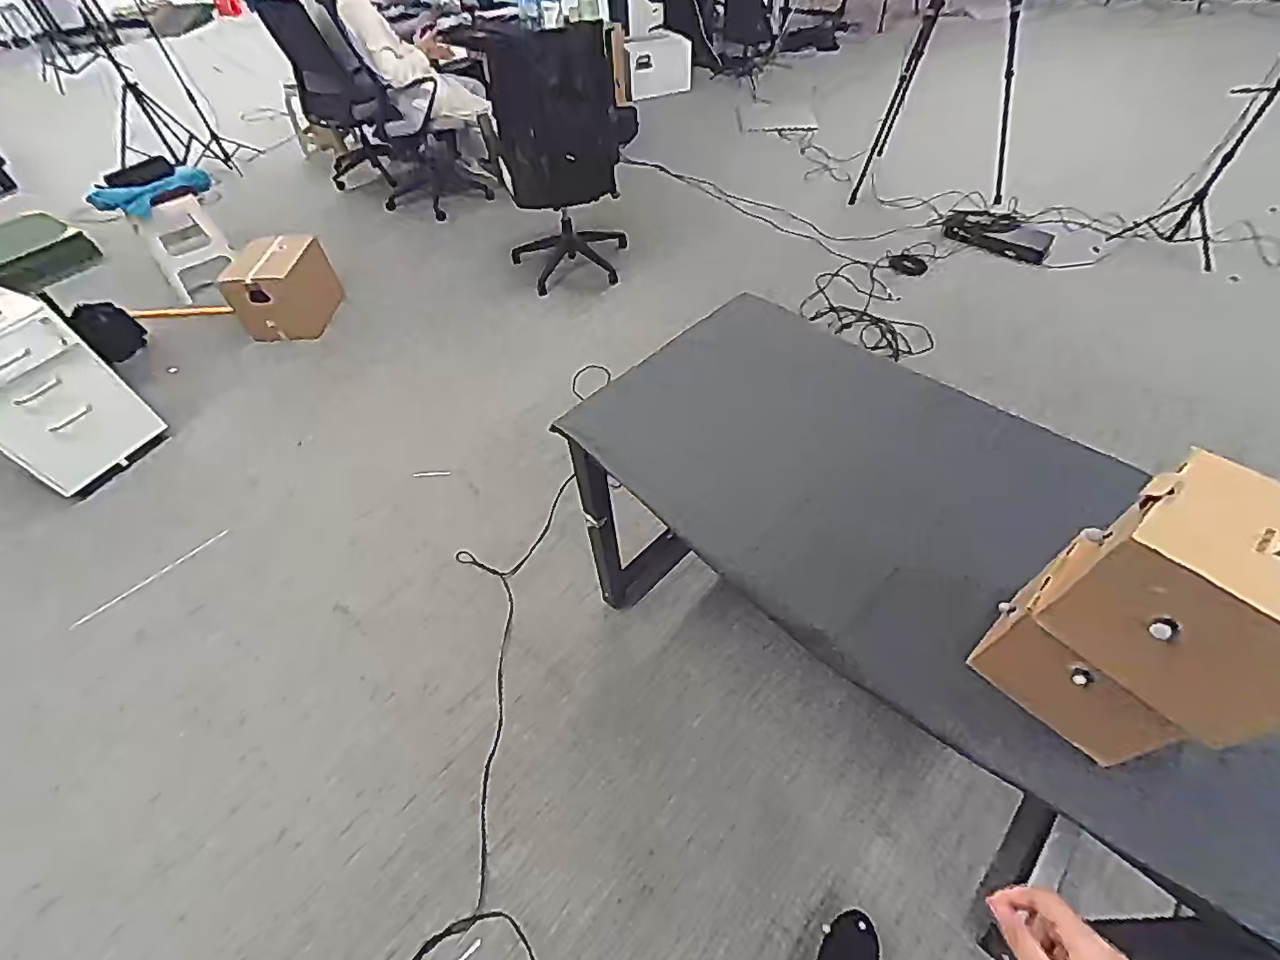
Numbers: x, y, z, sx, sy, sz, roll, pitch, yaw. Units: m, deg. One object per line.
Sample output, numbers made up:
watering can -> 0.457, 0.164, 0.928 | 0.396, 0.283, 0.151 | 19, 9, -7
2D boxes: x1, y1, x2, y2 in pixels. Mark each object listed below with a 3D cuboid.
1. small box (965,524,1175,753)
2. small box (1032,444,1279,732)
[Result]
small box -> 0.543, 0.194, 0.659 | 0.168, 0.176, 0.179 | -36, 58, -24
small box -> 0.533, 0.104, 0.521 | 0.168, 0.176, 0.179 | -33, 55, -22
